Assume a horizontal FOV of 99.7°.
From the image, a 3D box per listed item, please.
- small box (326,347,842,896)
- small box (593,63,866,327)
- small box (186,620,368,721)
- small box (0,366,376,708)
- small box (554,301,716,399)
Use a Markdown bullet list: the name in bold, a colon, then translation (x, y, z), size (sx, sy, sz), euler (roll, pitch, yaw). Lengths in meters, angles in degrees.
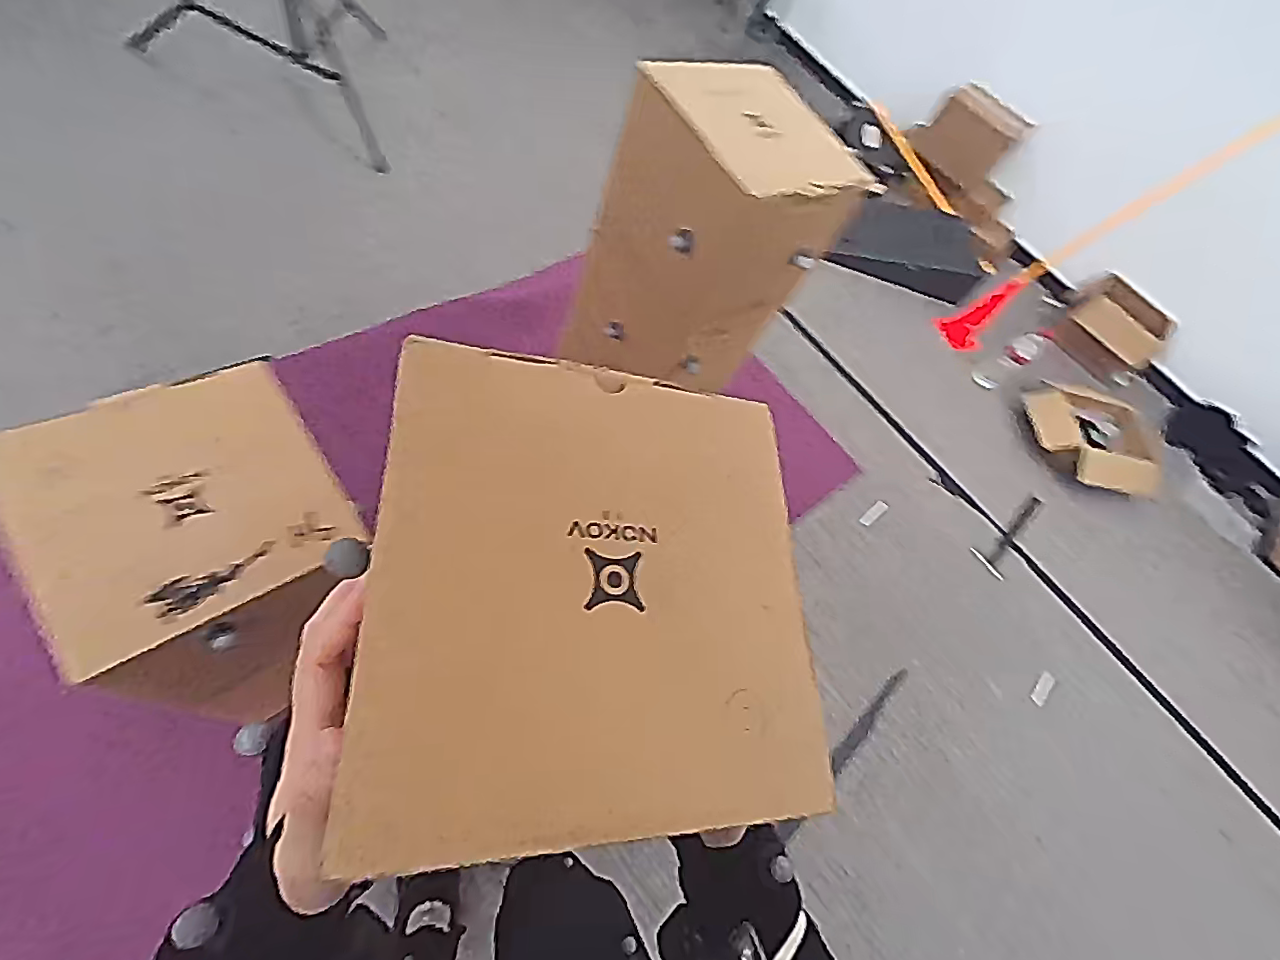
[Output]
- **small box**: translation (-0.036, 0.068, 0.266), size (0.168, 0.176, 0.179), euler (7, 63, -21)
- **small box**: translation (0.075, -0.276, 0.543), size (0.168, 0.176, 0.179), euler (-25, 72, -30)
- **small box**: translation (-0.373, 0.123, 0.556), size (0.168, 0.176, 0.179), euler (-31, 78, -30)
- **small box**: translation (-0.324, 0.049, 0.418), size (0.168, 0.176, 0.179), euler (-30, 76, -30)
- **small box**: translation (-0.024, -0.135, 0.820), size (0.168, 0.176, 0.179), euler (-27, 75, -29)
